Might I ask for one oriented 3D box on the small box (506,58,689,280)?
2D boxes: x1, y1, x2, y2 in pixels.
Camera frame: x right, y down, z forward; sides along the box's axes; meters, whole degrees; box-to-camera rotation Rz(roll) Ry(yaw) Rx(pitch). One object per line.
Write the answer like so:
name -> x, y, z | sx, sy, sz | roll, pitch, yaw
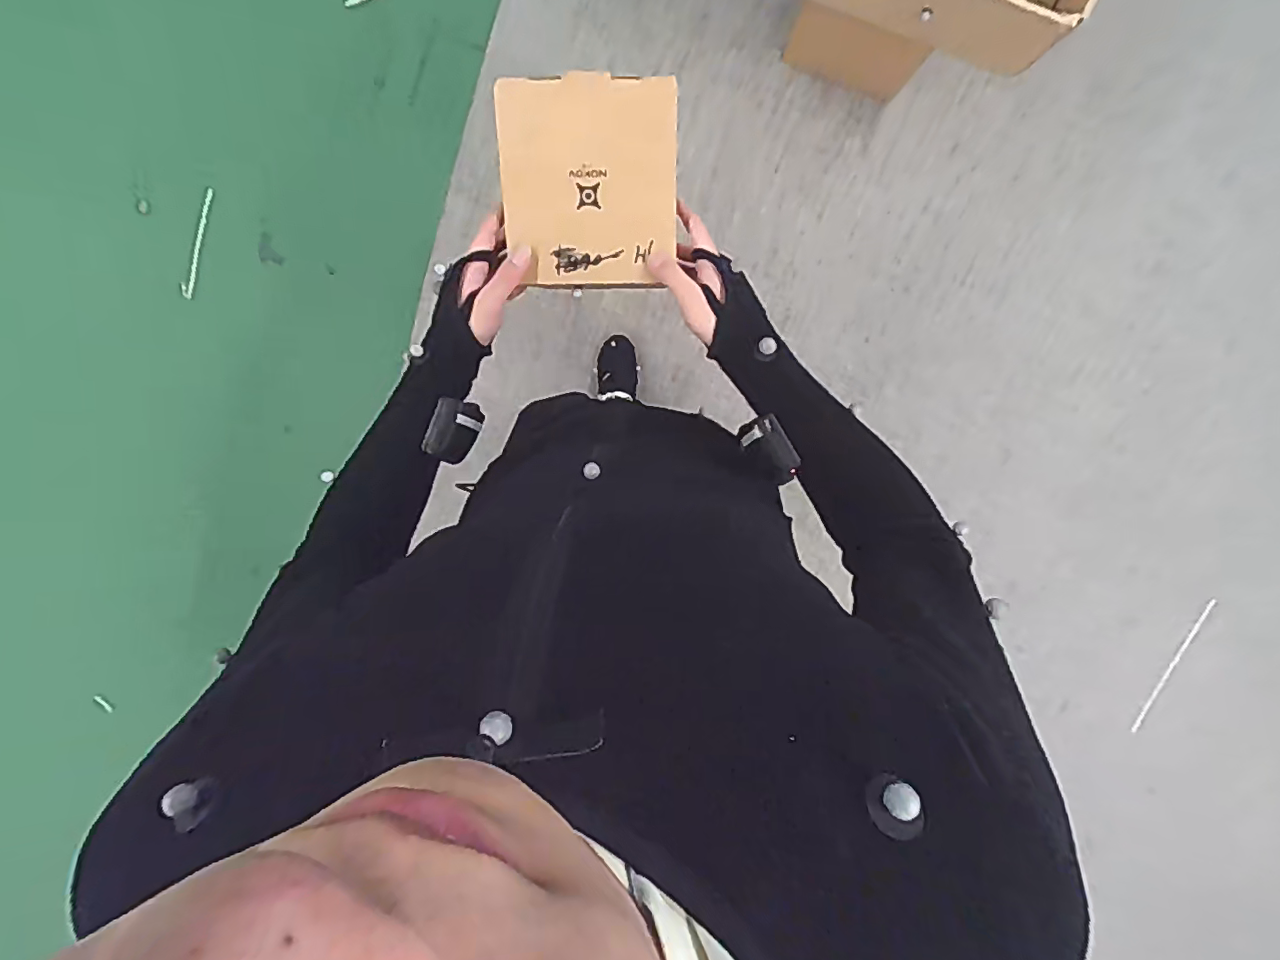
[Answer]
small box -> -0.041, -0.311, 0.577 | 0.168, 0.176, 0.179 | 0, 109, 0
